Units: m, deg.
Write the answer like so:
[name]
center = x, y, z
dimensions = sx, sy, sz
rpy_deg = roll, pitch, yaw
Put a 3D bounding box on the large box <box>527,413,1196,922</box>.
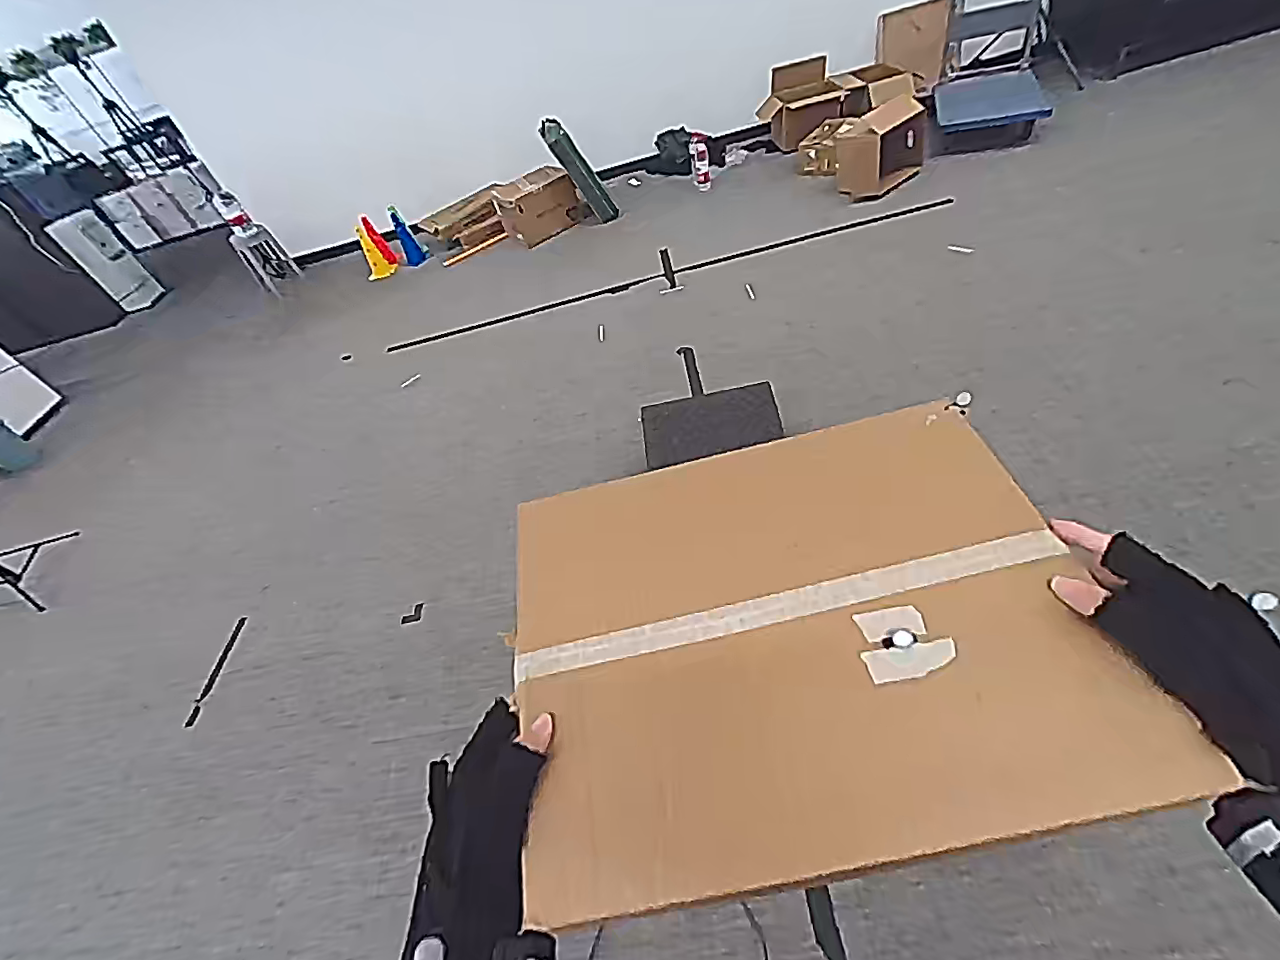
[large box]
center = 0.135, 0.192, 0.528
dimensions = 0.408, 0.320, 0.320
rpy_deg = -14, 51, 3
